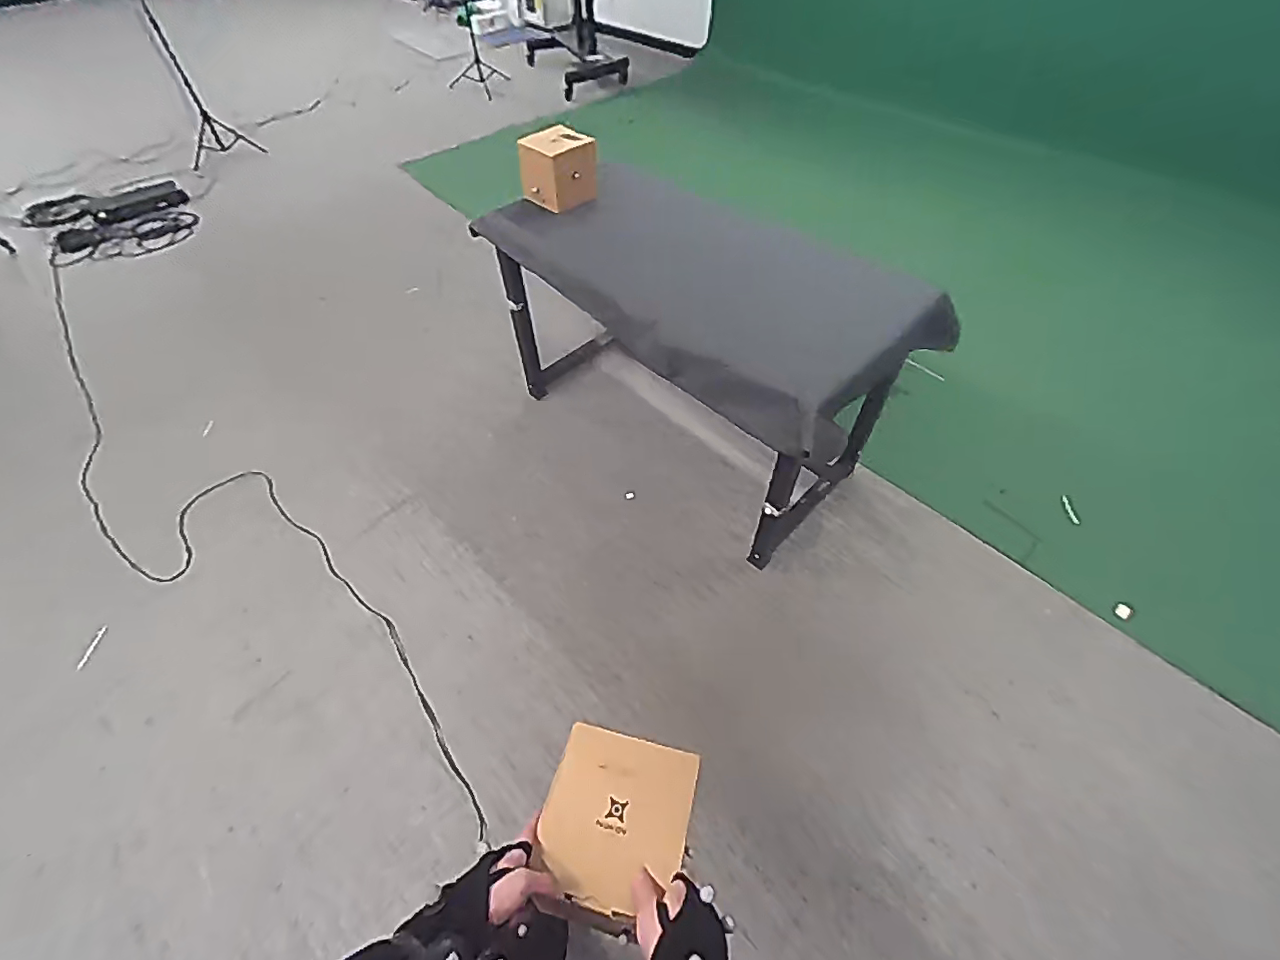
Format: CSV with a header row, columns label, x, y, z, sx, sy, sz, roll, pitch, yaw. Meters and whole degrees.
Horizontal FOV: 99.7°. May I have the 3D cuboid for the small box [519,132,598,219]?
label,x,y,z,sx,sy,sz,roll,pitch,yaw
small box,-0.246,-0.941,1.672,0.168,0.176,0.179,37,60,26

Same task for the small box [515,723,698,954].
label,x,y,z,sx,sy,sz,roll,pitch,yaw
small box,-0.029,0.432,0.653,0.168,0.176,0.179,10,43,10
